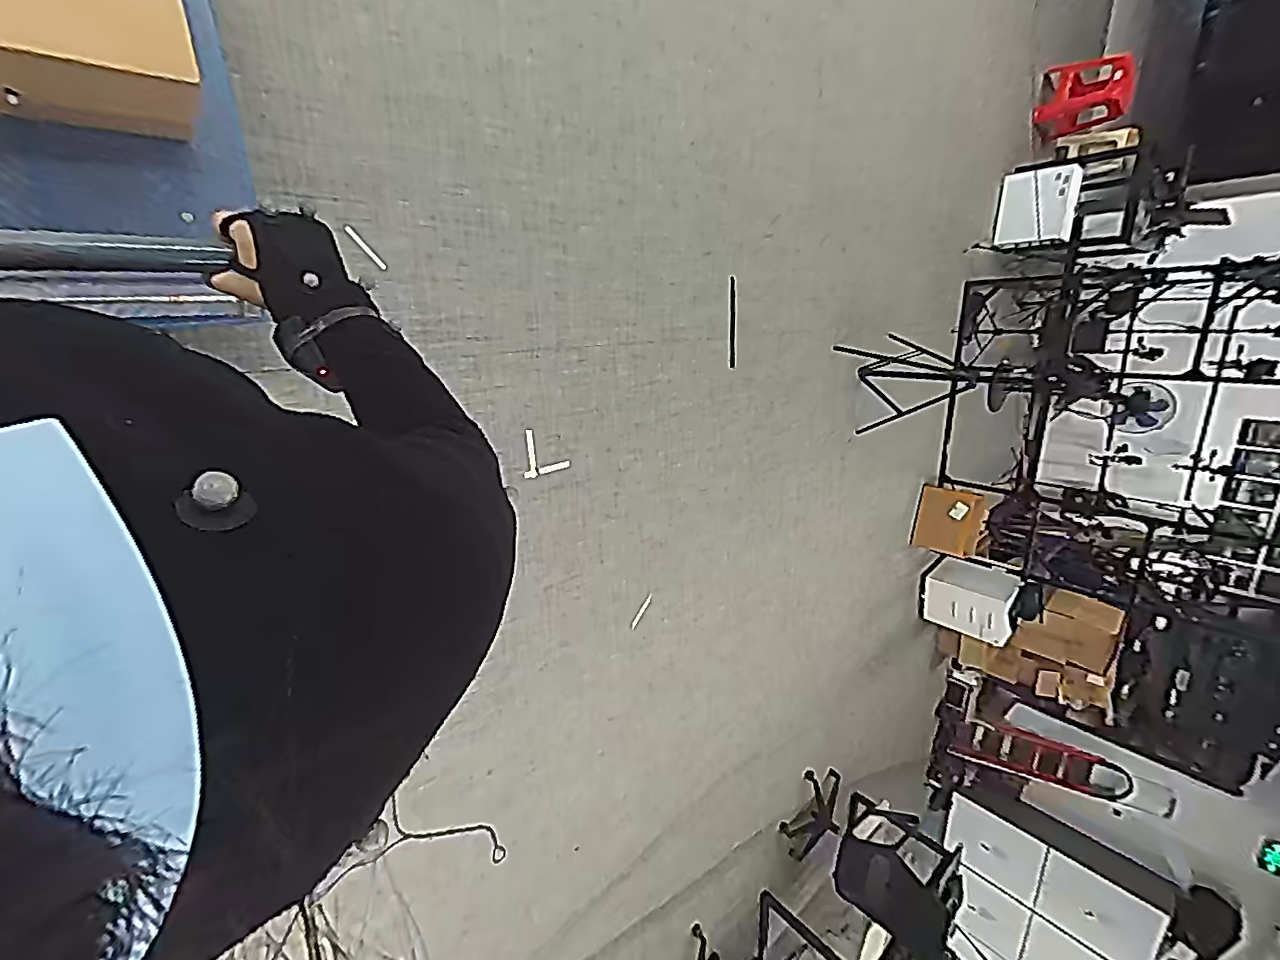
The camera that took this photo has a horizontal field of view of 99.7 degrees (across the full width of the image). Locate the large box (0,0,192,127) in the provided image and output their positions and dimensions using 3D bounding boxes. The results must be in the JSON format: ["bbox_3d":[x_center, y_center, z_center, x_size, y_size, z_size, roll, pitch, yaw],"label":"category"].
[{"bbox_3d":[-0.867,-0.687,0.685,0.408,0.320,0.320,-16,112,-38],"label":"large box"}]
